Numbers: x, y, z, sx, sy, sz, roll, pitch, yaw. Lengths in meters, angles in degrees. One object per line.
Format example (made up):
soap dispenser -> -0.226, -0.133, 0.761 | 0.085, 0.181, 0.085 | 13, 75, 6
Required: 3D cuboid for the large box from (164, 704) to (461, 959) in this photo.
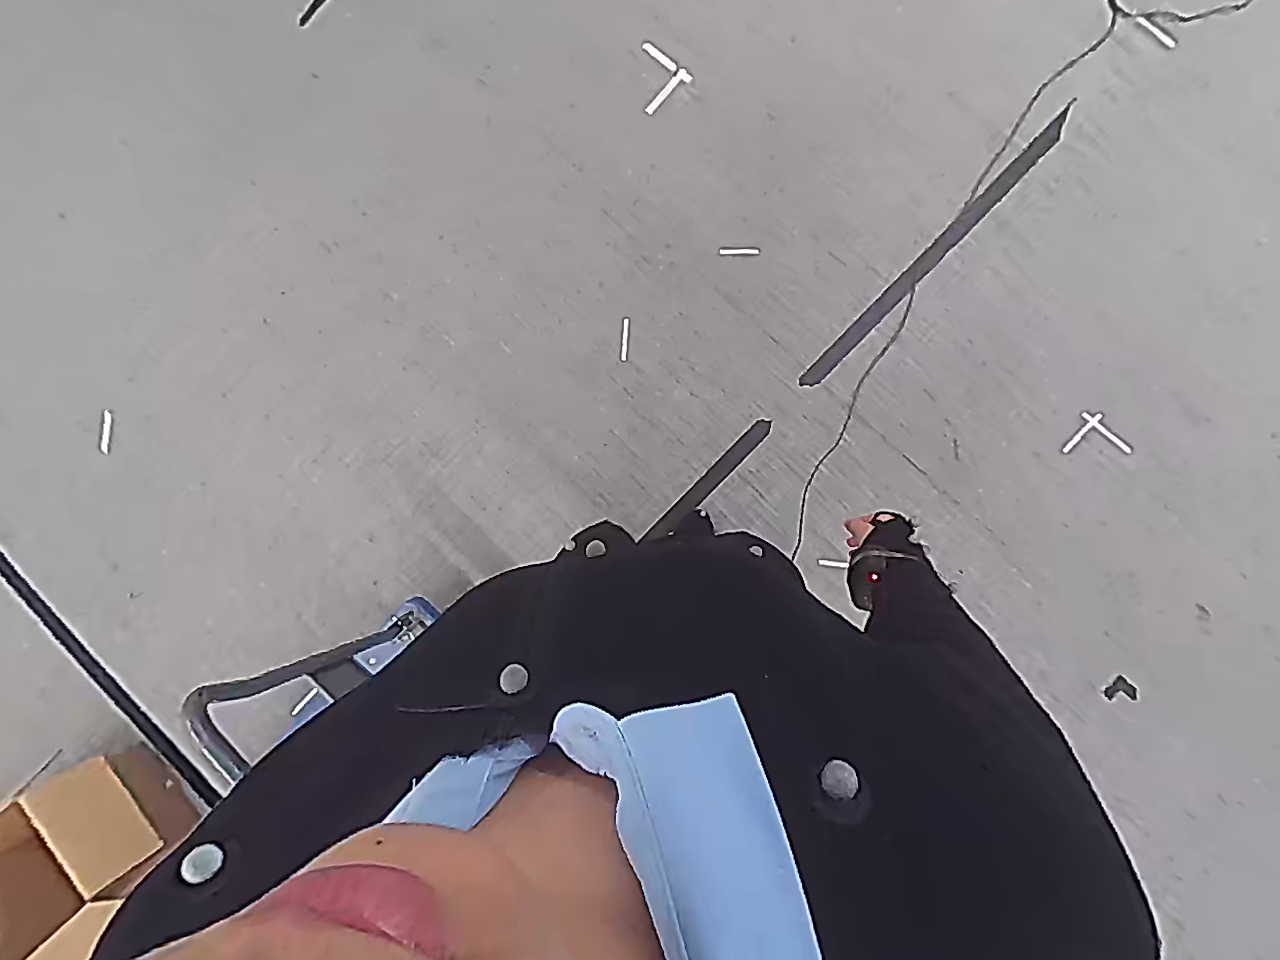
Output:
large box -> -0.689, 0.794, 1.201 | 0.408, 0.320, 0.320 | 44, 92, 4
